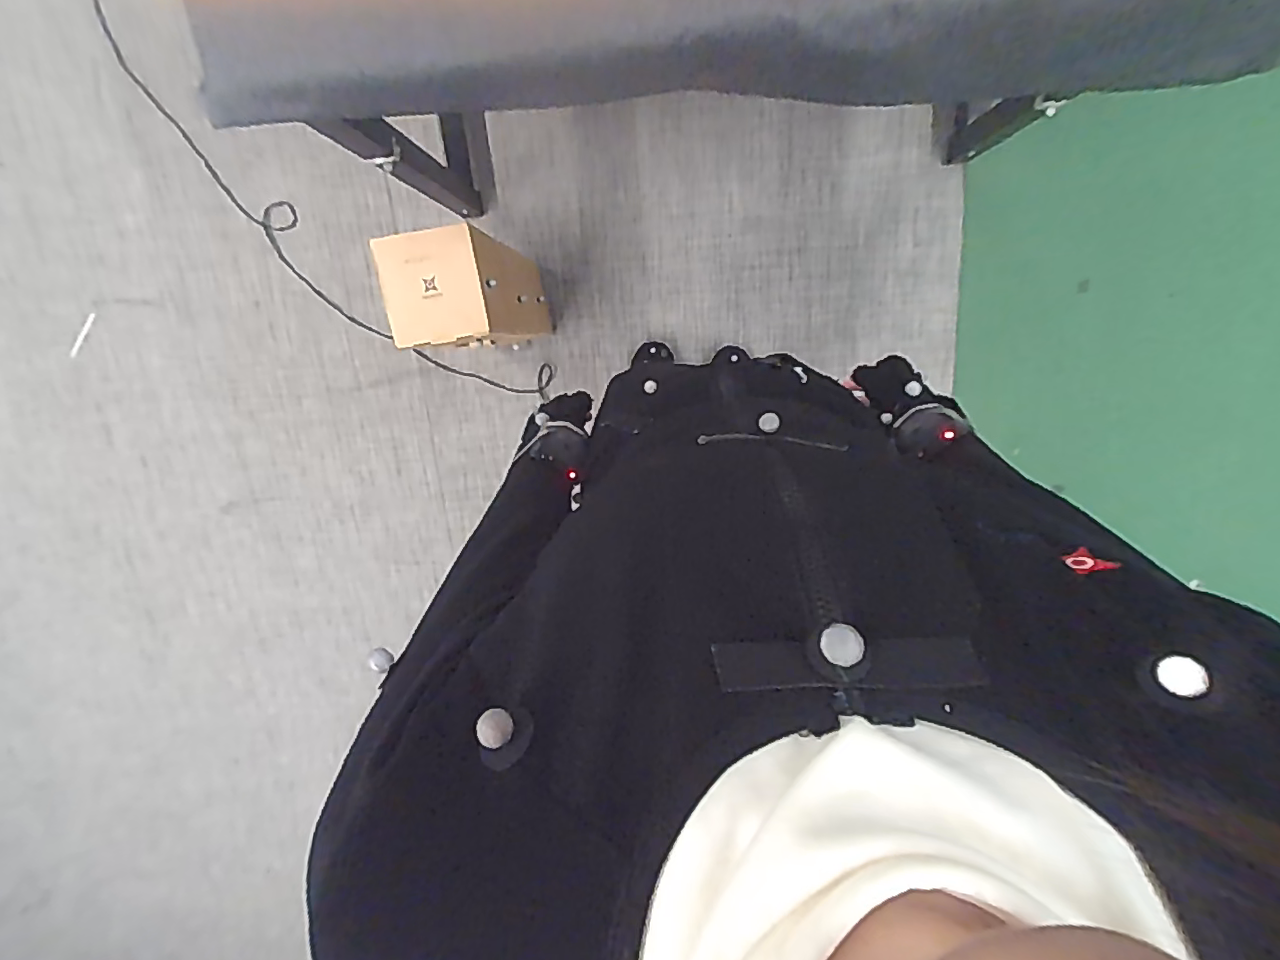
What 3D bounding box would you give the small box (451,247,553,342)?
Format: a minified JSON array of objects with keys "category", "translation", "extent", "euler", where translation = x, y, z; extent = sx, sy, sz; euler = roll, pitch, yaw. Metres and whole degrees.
[{"category":"small box","translation":[-0.315,-0.427,1.269],"extent":[0.168,0.176,0.179],"euler":[-11,105,6]}]
